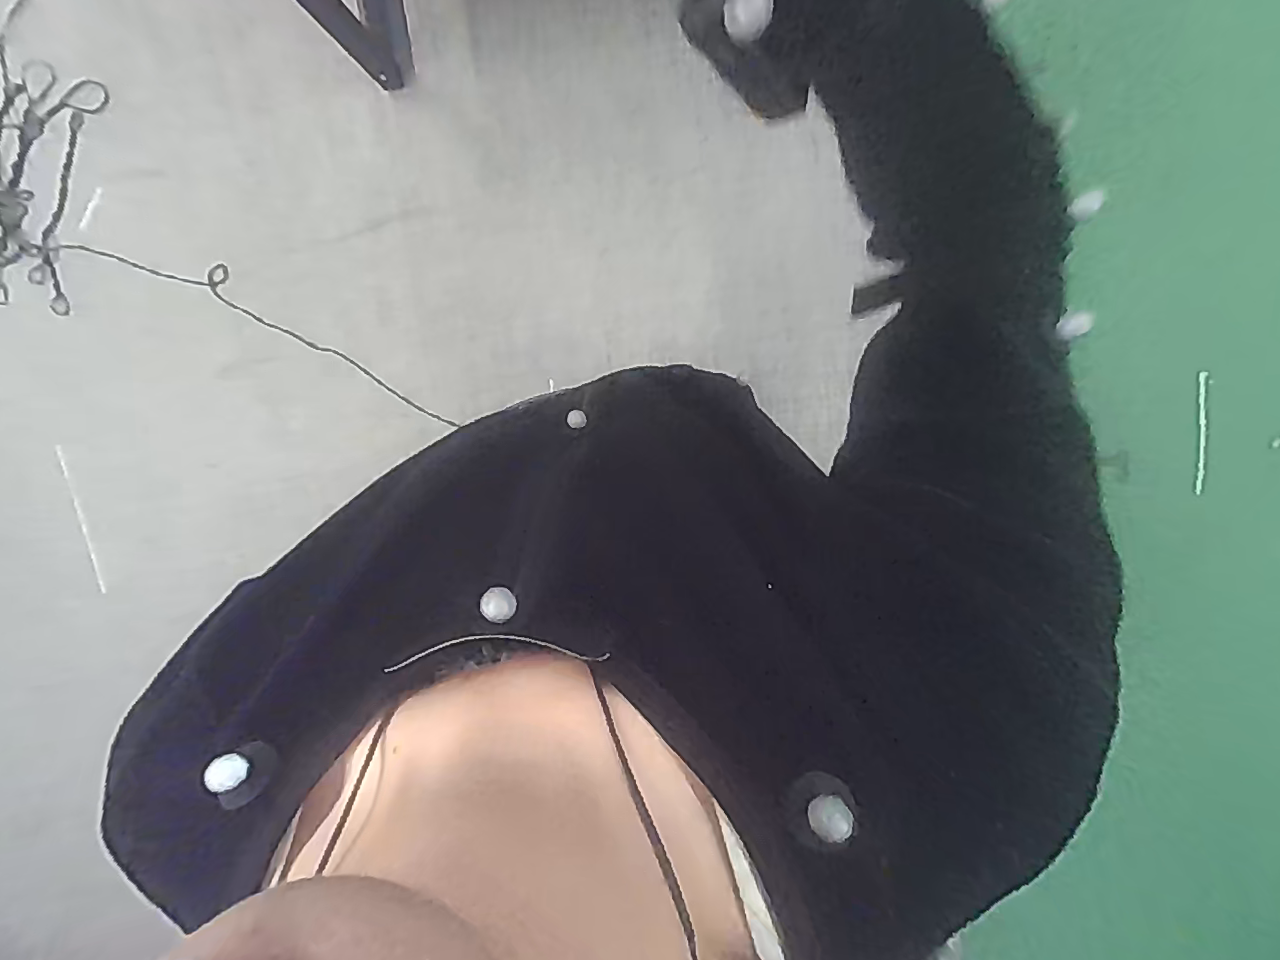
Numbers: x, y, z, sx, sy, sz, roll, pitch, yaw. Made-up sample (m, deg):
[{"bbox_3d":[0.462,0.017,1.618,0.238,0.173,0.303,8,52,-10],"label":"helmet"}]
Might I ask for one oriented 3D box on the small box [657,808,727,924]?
[{"bbox_3d":[0.131,0.978,1.385,0.168,0.176,0.179,1,99,5],"label":"small box"}]
